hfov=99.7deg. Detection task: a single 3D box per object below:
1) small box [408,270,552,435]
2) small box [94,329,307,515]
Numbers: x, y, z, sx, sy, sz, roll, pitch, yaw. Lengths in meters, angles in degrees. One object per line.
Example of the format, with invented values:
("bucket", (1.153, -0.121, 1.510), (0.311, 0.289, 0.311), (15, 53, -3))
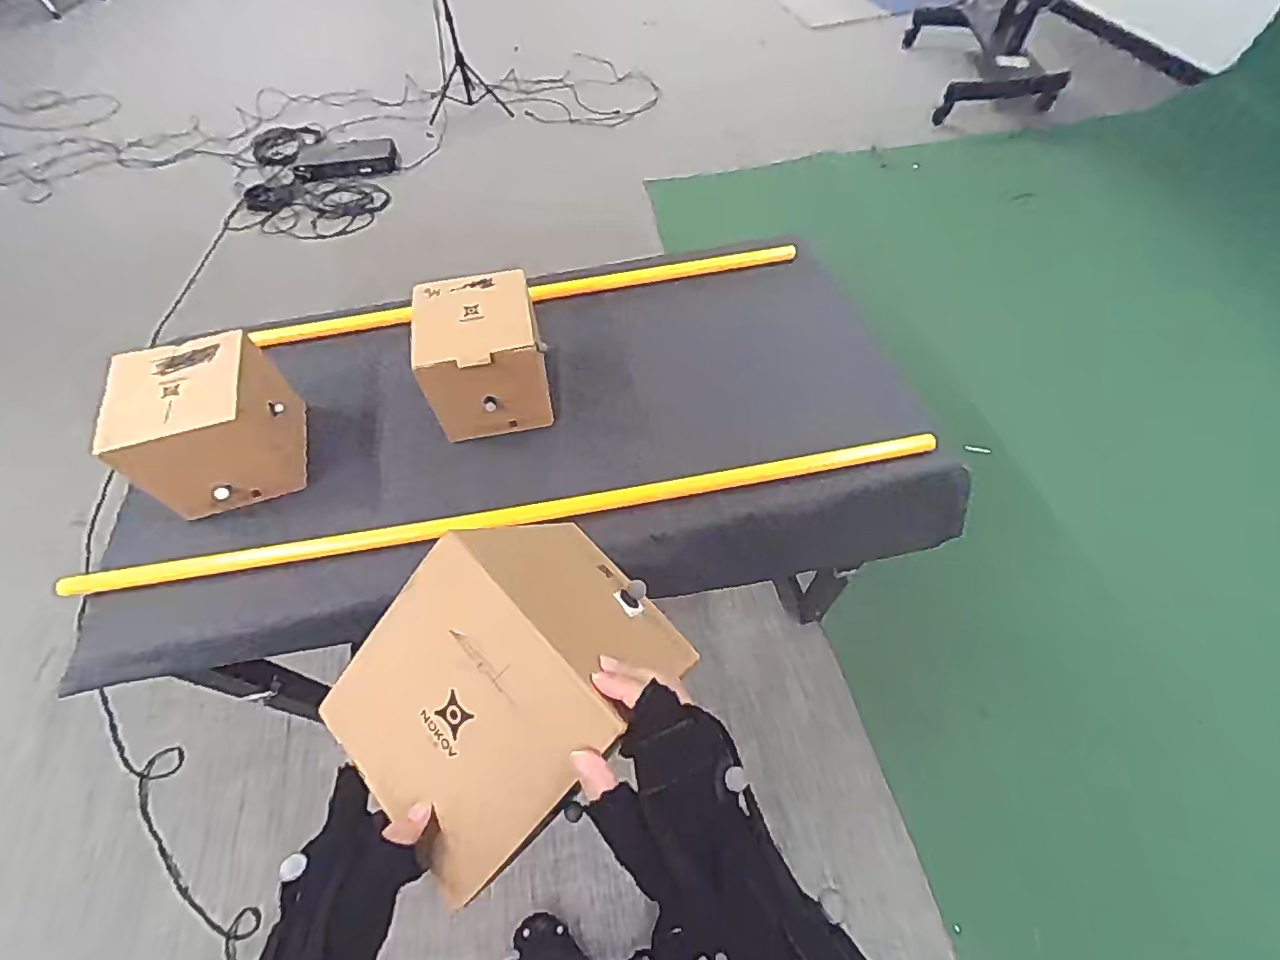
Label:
("small box", (-0.241, -0.187, 0.834), (0.168, 0.176, 0.179), (-14, 57, -6))
("small box", (-0.601, -0.079, 0.769), (0.168, 0.176, 0.179), (-17, 59, -9))
